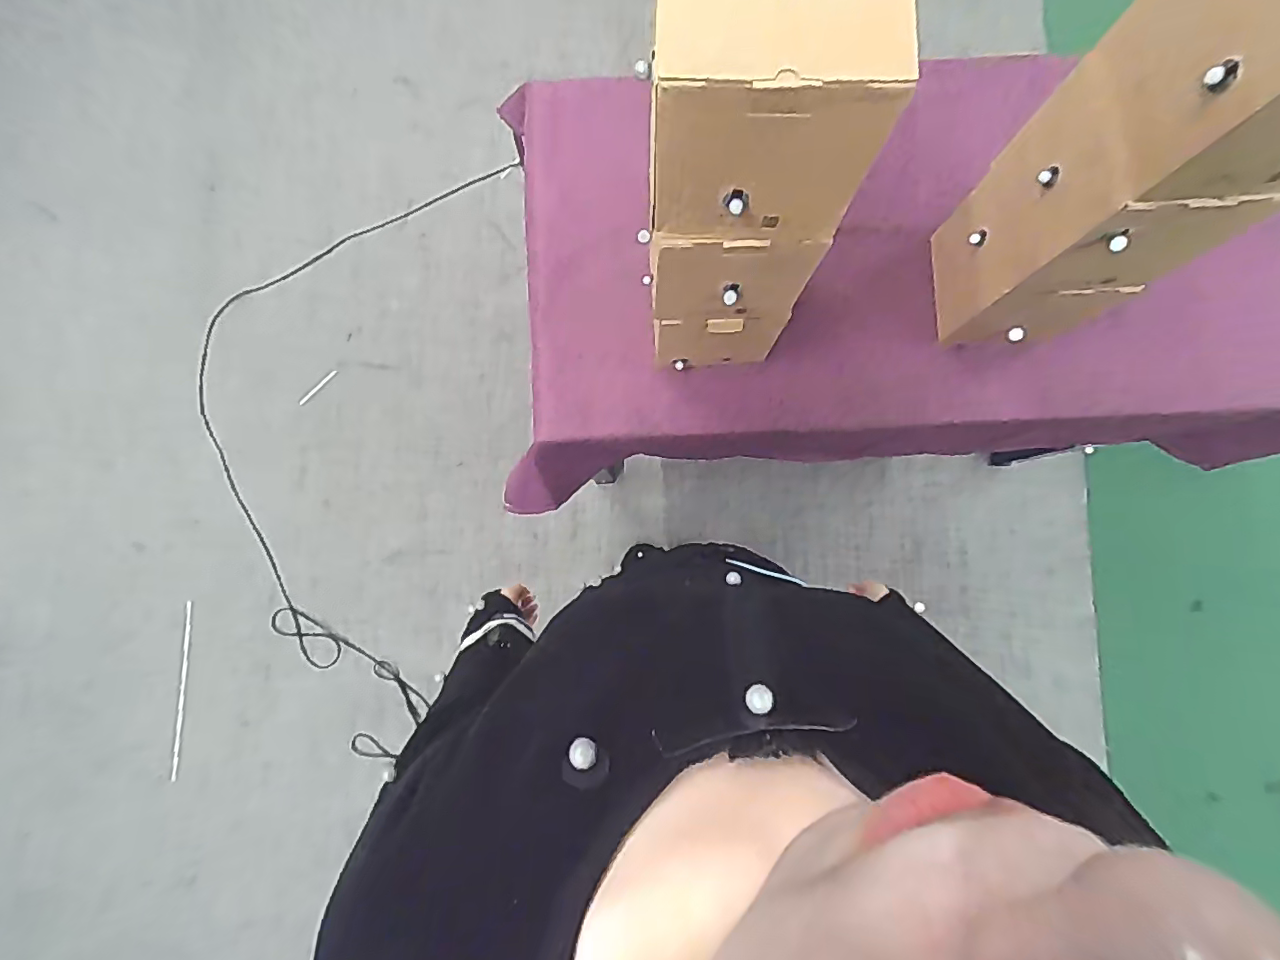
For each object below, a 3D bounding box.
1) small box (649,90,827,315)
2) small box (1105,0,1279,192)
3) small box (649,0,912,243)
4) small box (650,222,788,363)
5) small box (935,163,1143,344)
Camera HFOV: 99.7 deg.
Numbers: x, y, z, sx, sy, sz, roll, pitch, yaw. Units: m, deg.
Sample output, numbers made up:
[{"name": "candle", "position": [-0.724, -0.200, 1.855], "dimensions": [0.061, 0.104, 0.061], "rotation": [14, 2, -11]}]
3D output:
[{"name": "small box", "position": [0.094, -0.291, 0.593], "dimensions": [0.168, 0.176, 0.179], "rotation": [-2, 84, 0]}, {"name": "small box", "position": [0.524, -0.352, 0.426], "dimensions": [0.168, 0.176, 0.179], "rotation": [-3, 82, 0]}, {"name": "small box", "position": [0.092, -0.318, 0.431], "dimensions": [0.168, 0.176, 0.179], "rotation": [1, 83, 1]}, {"name": "small box", "position": [0.100, -0.270, 0.755], "dimensions": [0.168, 0.176, 0.179], "rotation": [-3, 82, 0]}, {"name": "small box", "position": [0.533, -0.303, 0.750], "dimensions": [0.168, 0.176, 0.179], "rotation": [0, 83, 2]}]
